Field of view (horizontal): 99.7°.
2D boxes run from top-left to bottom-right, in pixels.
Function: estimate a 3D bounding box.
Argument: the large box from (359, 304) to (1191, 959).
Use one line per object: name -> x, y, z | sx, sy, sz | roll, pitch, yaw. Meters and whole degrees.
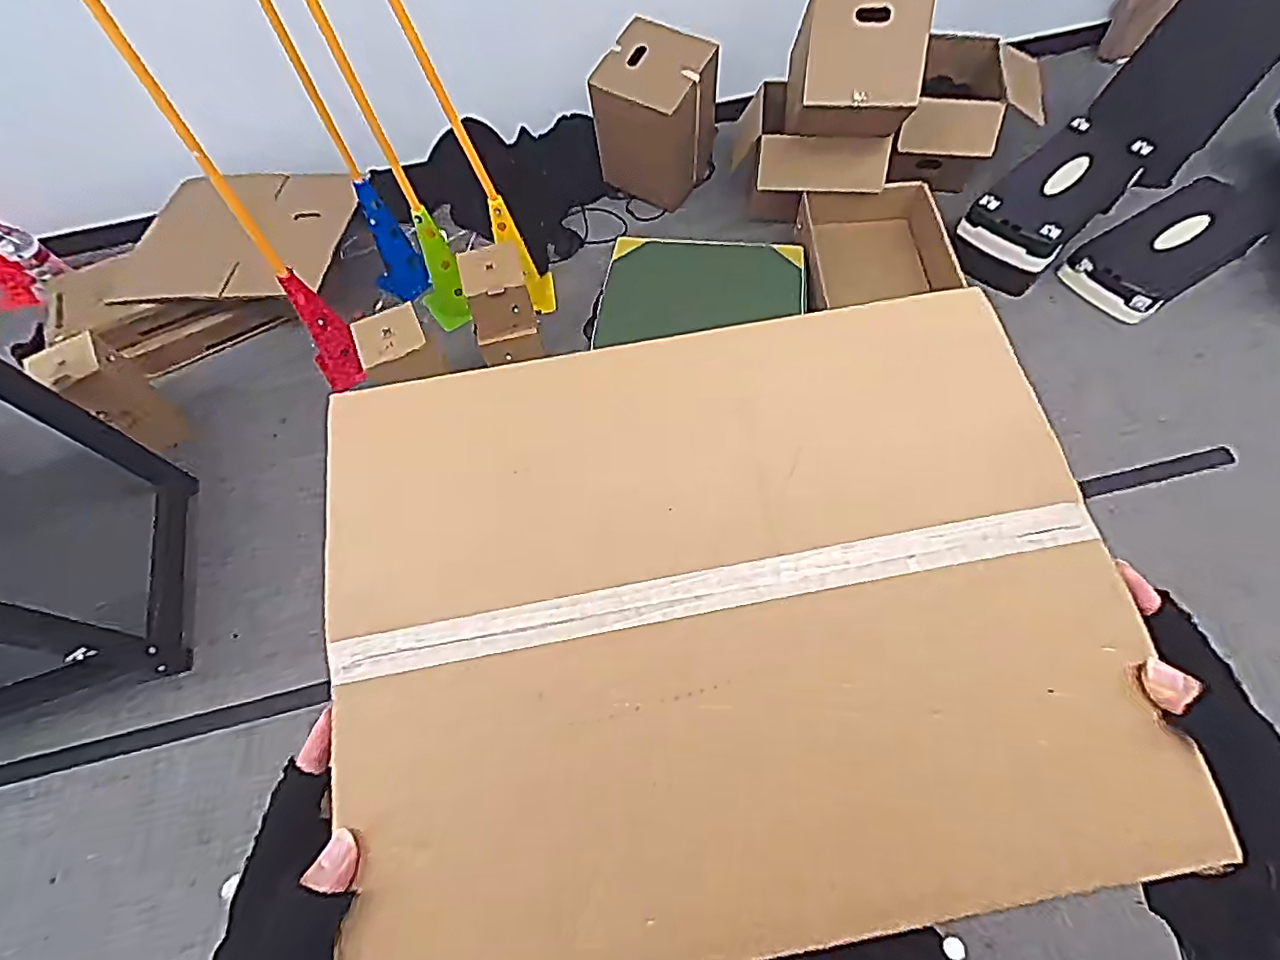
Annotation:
large box -> 0.047, 0.111, 0.440 | 0.408, 0.320, 0.320 | -11, 72, -2
